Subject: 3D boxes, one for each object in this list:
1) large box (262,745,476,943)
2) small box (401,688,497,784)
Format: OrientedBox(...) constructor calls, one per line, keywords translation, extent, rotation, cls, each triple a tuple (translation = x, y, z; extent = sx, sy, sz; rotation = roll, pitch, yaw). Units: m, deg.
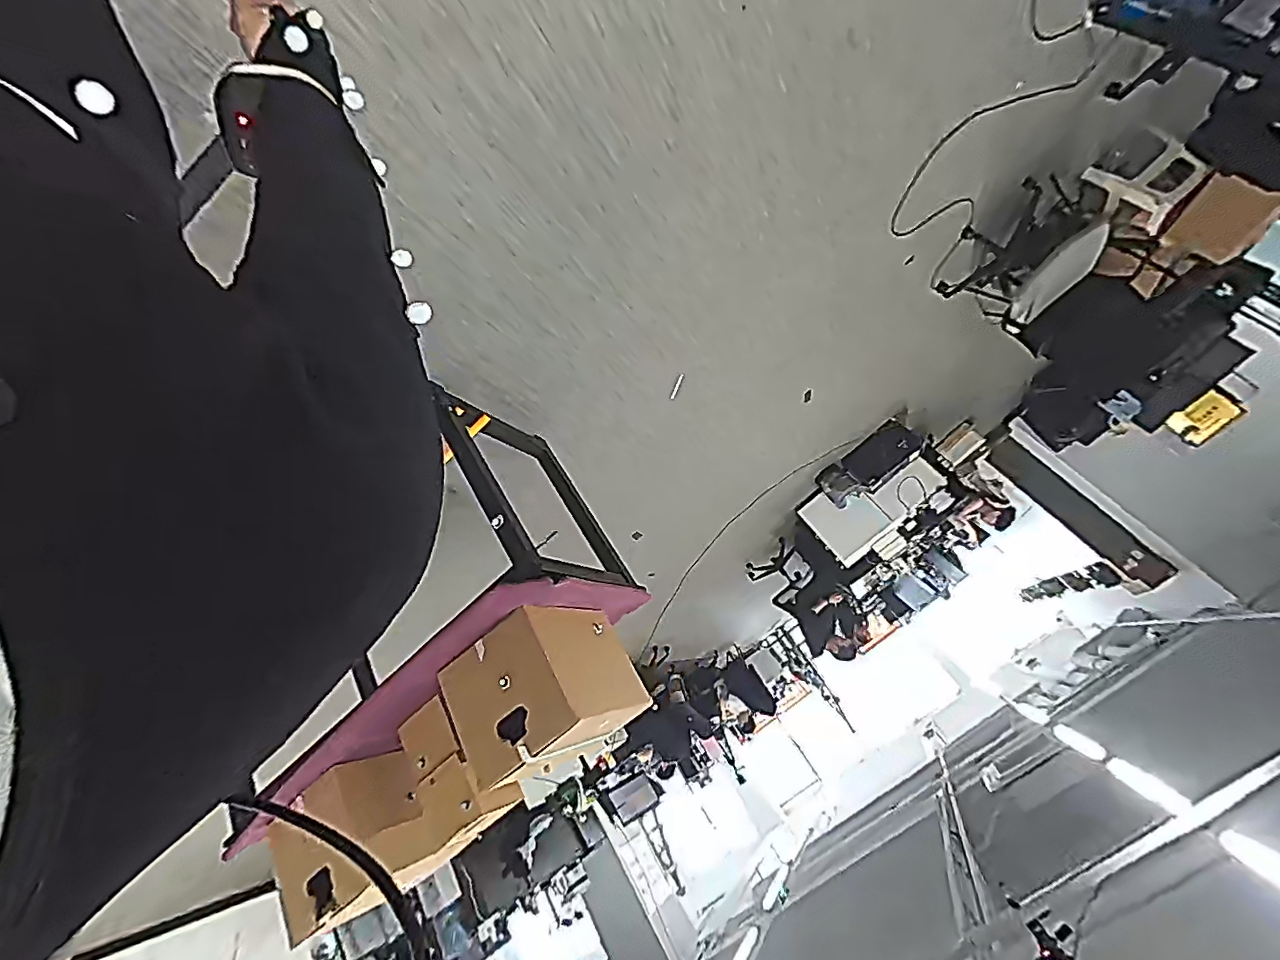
OrientedBox(translation=(-0.771, 0.998, 1.562), extent=(0.320, 0.320, 0.408), rotation=(-41, 153, 10), cls="large box")
OrientedBox(translation=(-0.542, 0.710, 1.517), extent=(0.179, 0.176, 0.168), rotation=(-42, 153, 10), cls="small box")
